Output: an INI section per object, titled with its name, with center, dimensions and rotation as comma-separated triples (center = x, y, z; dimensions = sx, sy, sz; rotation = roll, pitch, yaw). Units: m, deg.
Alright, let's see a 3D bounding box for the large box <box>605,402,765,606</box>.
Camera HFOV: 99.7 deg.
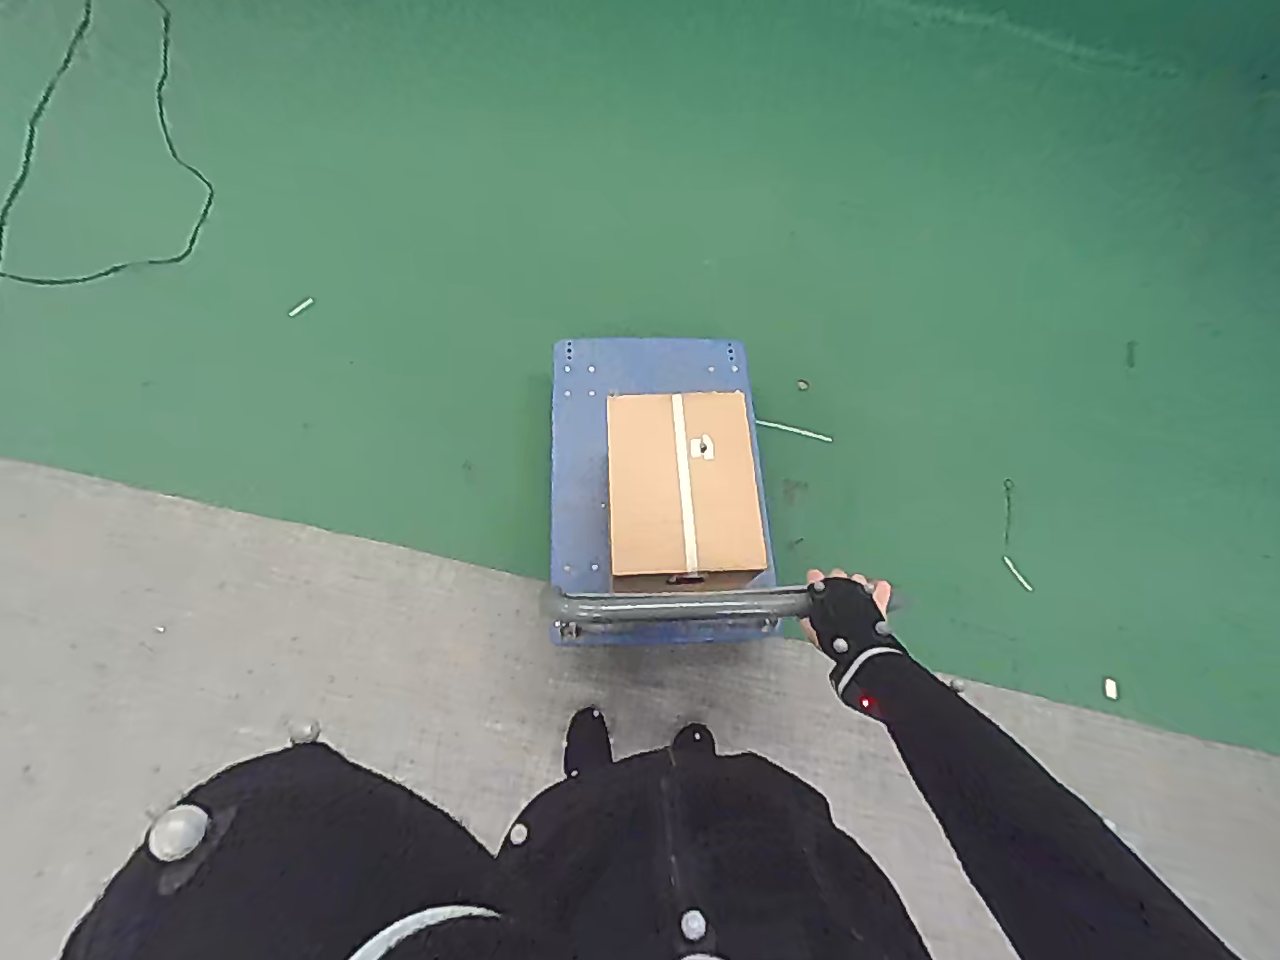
[large box]
center = 0.081, 0.067, 1.288
dimensions = 0.320, 0.320, 0.408
rotation = -2, 68, -4
